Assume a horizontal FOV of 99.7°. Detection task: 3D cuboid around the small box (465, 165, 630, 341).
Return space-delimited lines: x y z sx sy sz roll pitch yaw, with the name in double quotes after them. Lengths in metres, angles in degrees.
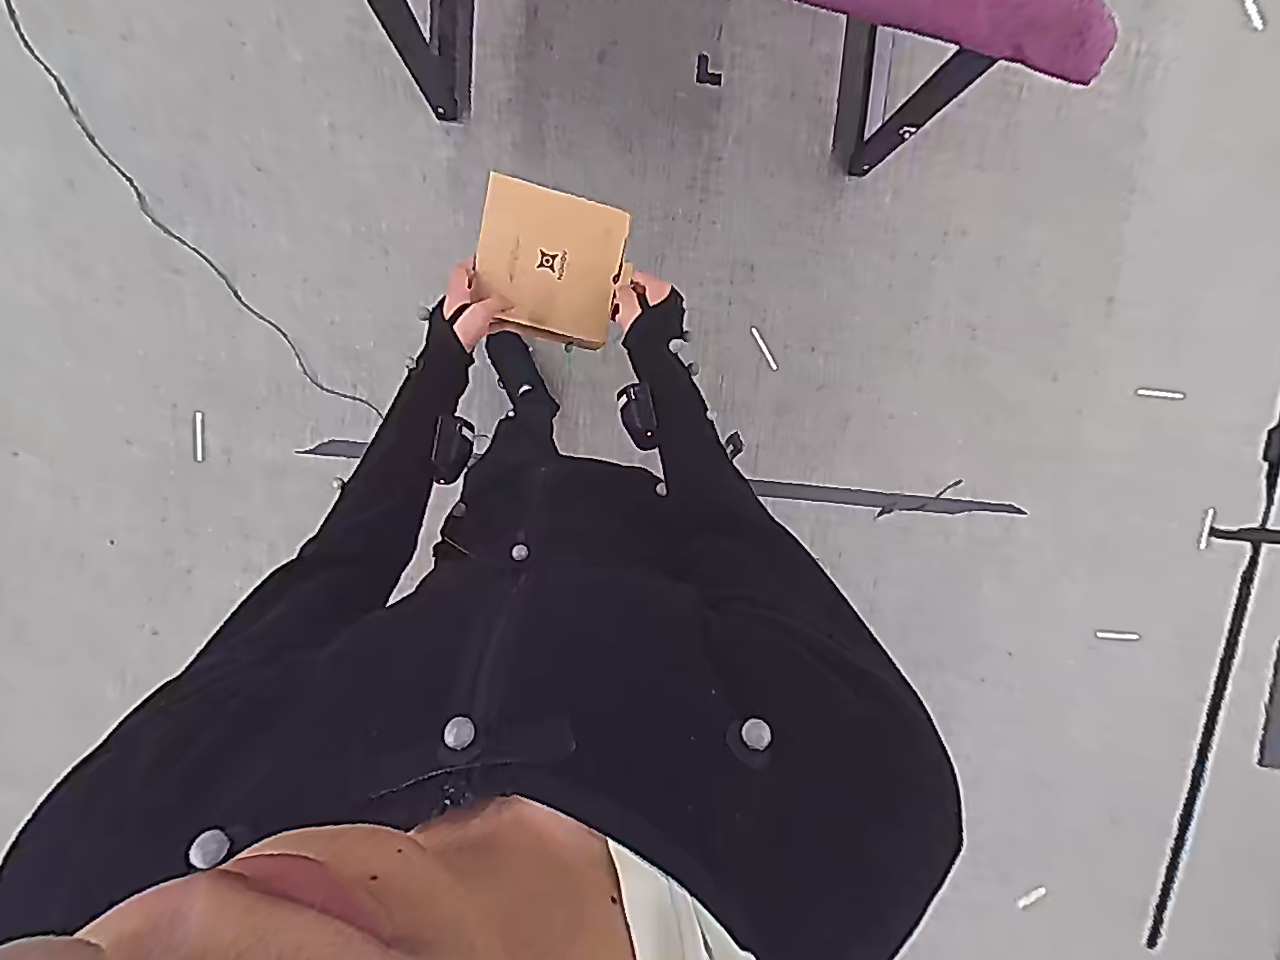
-0.126 -0.291 0.739 0.179 0.176 0.168 11 98 -12 "small box"
